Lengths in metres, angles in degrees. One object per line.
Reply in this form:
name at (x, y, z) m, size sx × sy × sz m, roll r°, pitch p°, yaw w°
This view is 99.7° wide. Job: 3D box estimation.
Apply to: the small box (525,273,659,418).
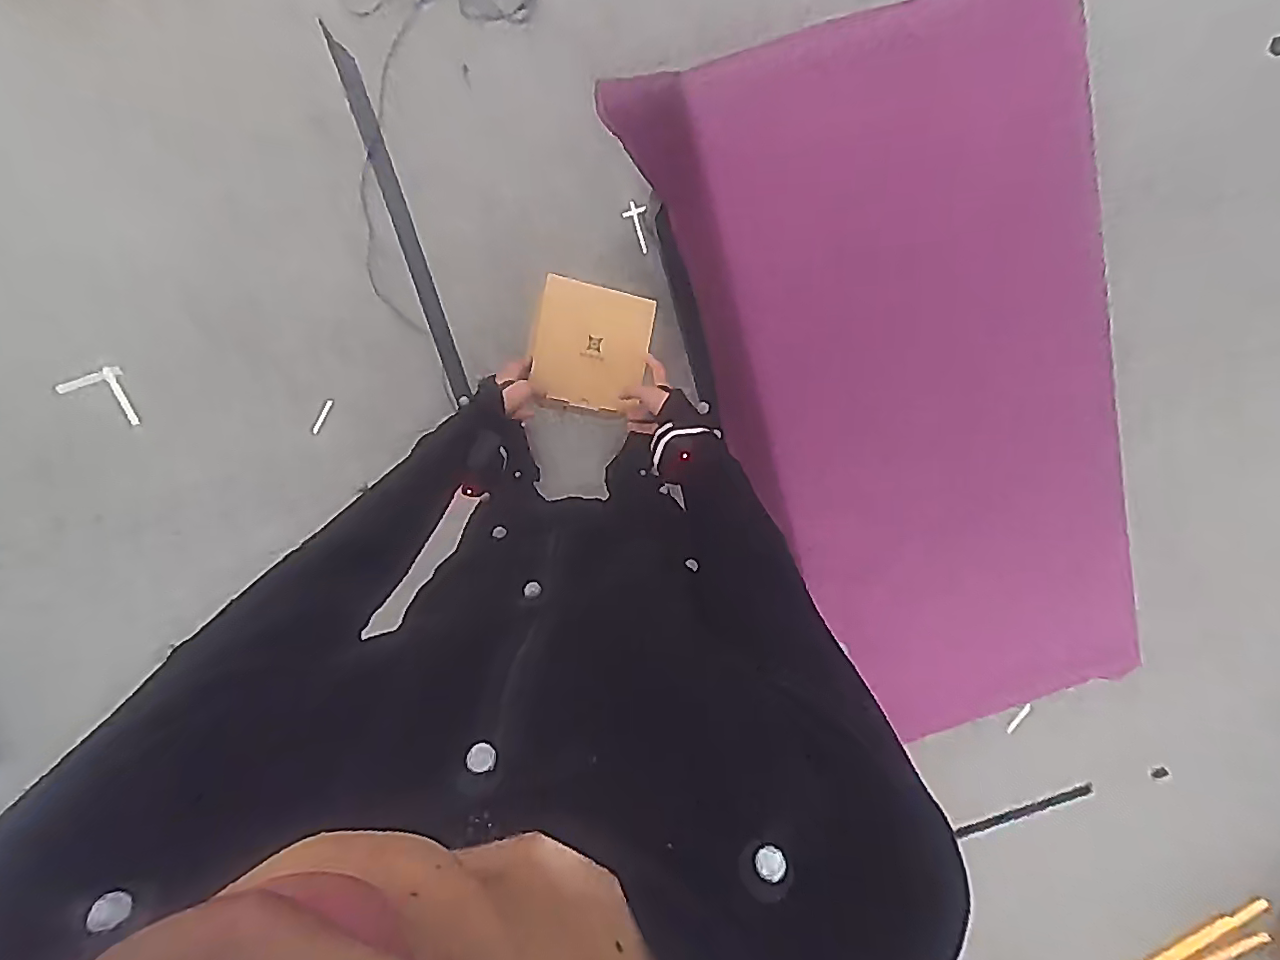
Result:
small box at (-0.084, -0.199, 0.854) m, size 0.168 × 0.176 × 0.179 m, roll 9°, pitch 93°, yaw -16°
